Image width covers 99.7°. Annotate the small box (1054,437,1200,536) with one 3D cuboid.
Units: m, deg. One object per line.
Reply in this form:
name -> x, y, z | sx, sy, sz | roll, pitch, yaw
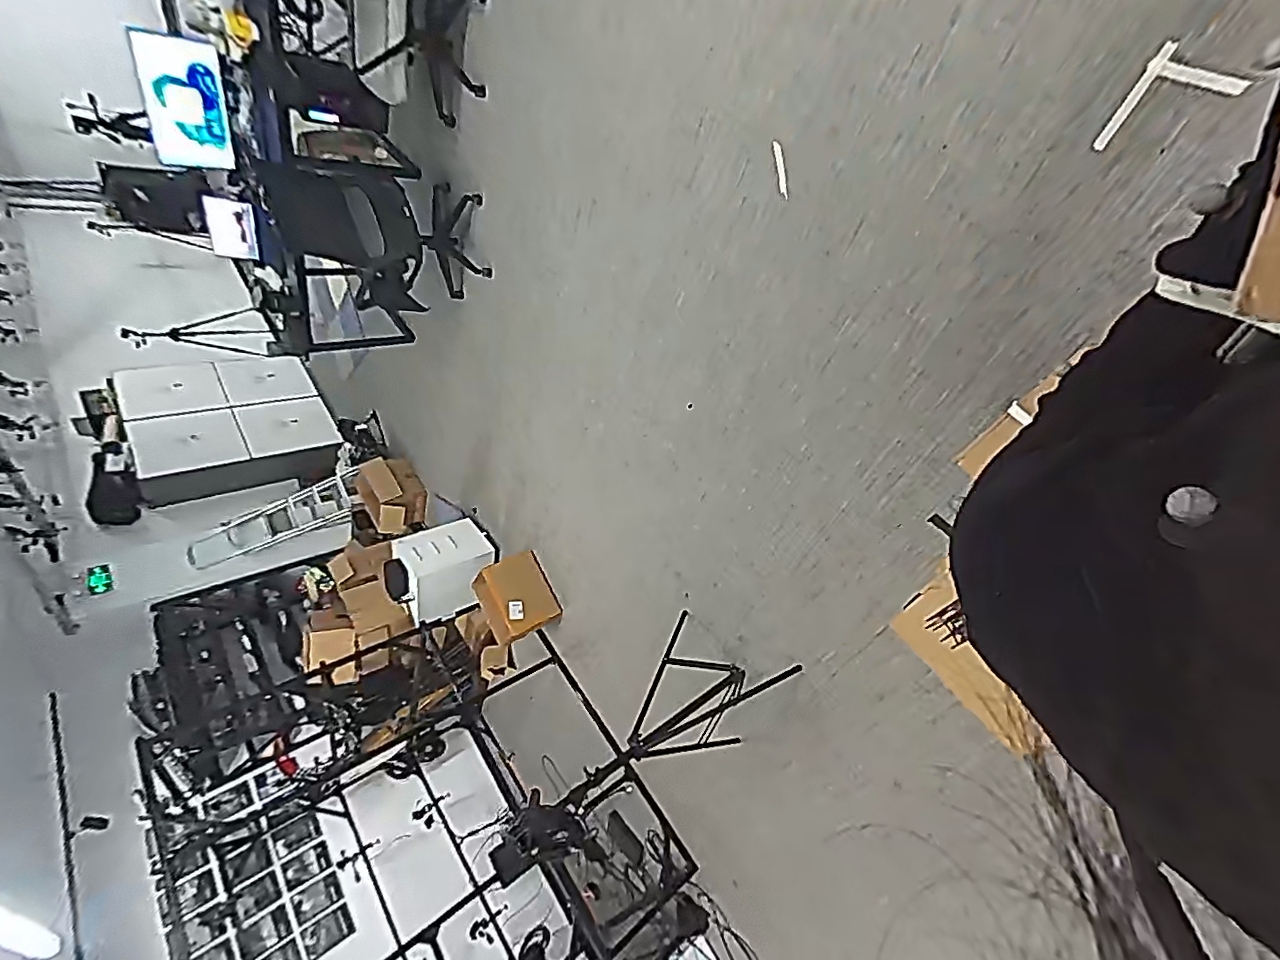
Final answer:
small box -> 0.662, 0.057, 0.794 | 0.168, 0.176, 0.179 | 43, 134, 32
